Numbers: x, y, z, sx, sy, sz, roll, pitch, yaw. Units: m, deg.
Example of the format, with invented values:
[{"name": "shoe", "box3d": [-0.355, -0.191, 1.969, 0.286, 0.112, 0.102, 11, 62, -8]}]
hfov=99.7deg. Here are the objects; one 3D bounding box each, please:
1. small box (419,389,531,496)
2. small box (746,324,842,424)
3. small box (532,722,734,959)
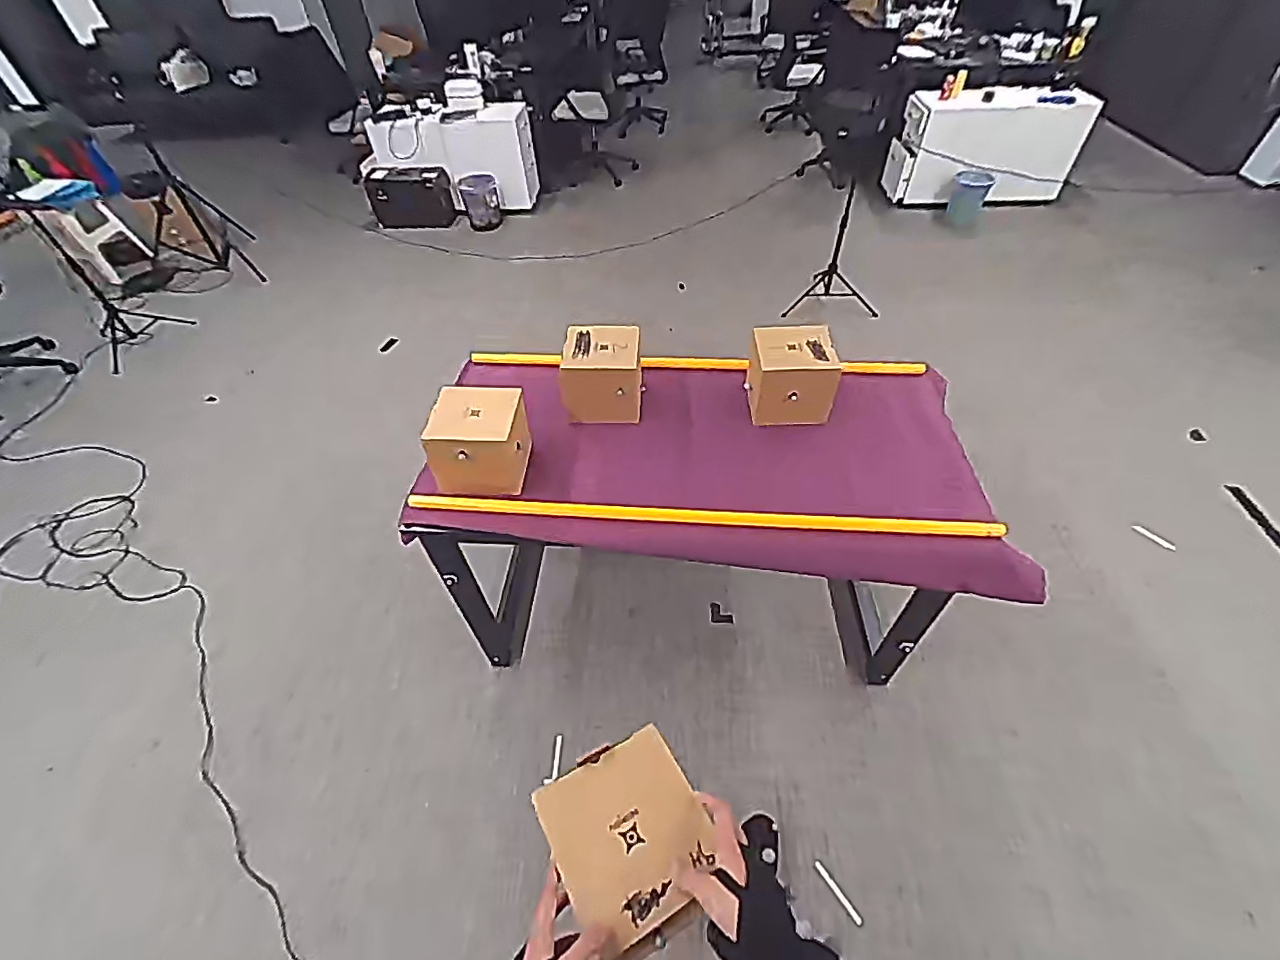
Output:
[{"name": "small box", "box3d": [-0.342, -0.077, 1.163, 0.179, 0.176, 0.168, 0, 48, 2]}, {"name": "small box", "box3d": [0.353, -0.247, 1.274, 0.179, 0.176, 0.168, -2, 49, 3]}, {"name": "small box", "box3d": [-0.013, 0.433, 0.638, 0.168, 0.176, 0.179, -22, 47, -20]}]
